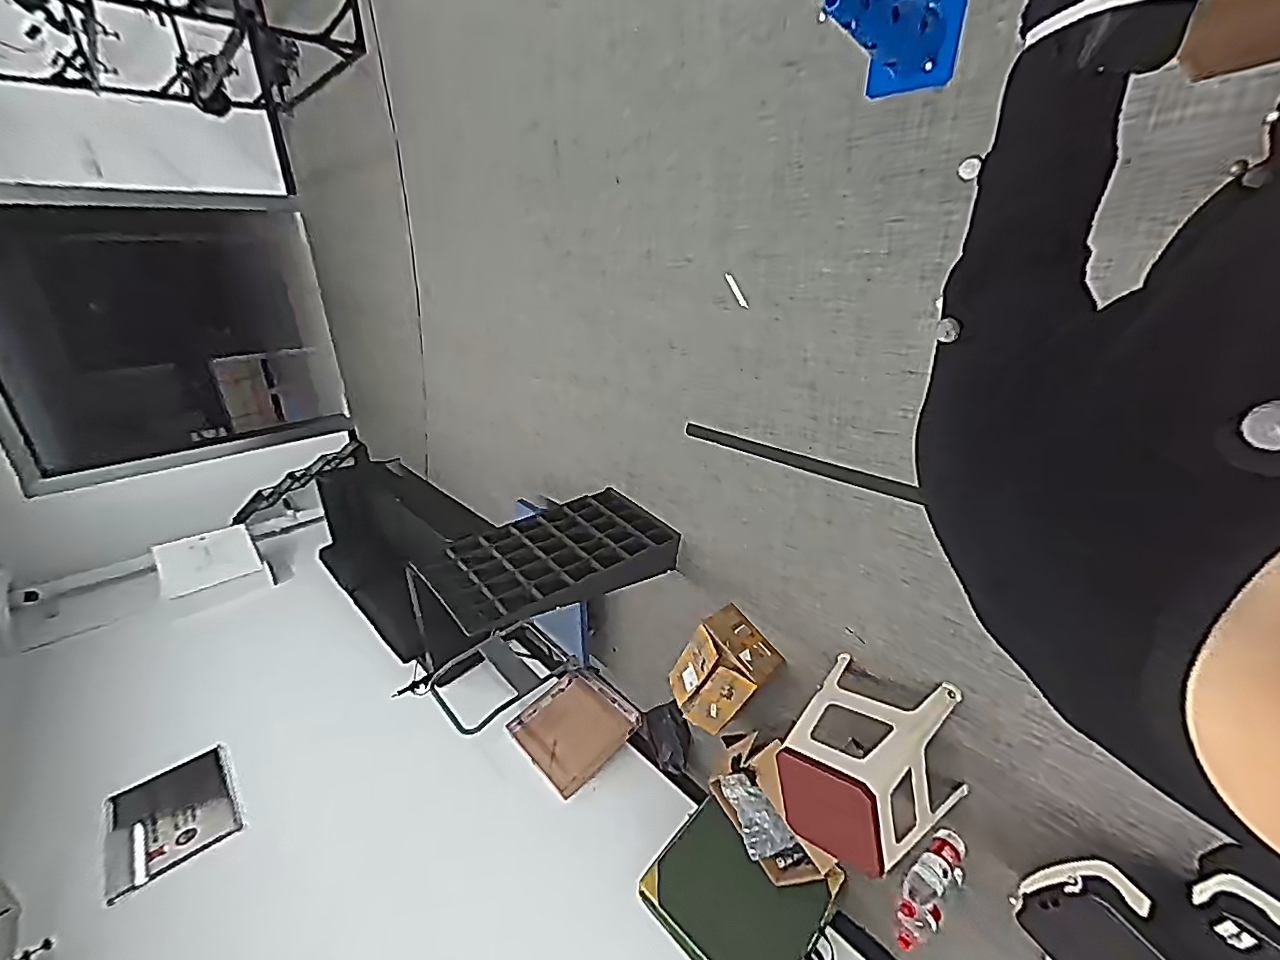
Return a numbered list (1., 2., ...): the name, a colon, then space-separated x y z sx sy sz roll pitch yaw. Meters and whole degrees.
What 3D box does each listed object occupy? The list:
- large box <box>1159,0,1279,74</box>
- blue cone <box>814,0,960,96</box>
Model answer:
1. large box: 0.541 -0.456 0.244 0.408 0.320 0.320 14 119 44
2. blue cone: 0.492 -0.953 1.130 0.192 0.380 0.193 27 126 42
